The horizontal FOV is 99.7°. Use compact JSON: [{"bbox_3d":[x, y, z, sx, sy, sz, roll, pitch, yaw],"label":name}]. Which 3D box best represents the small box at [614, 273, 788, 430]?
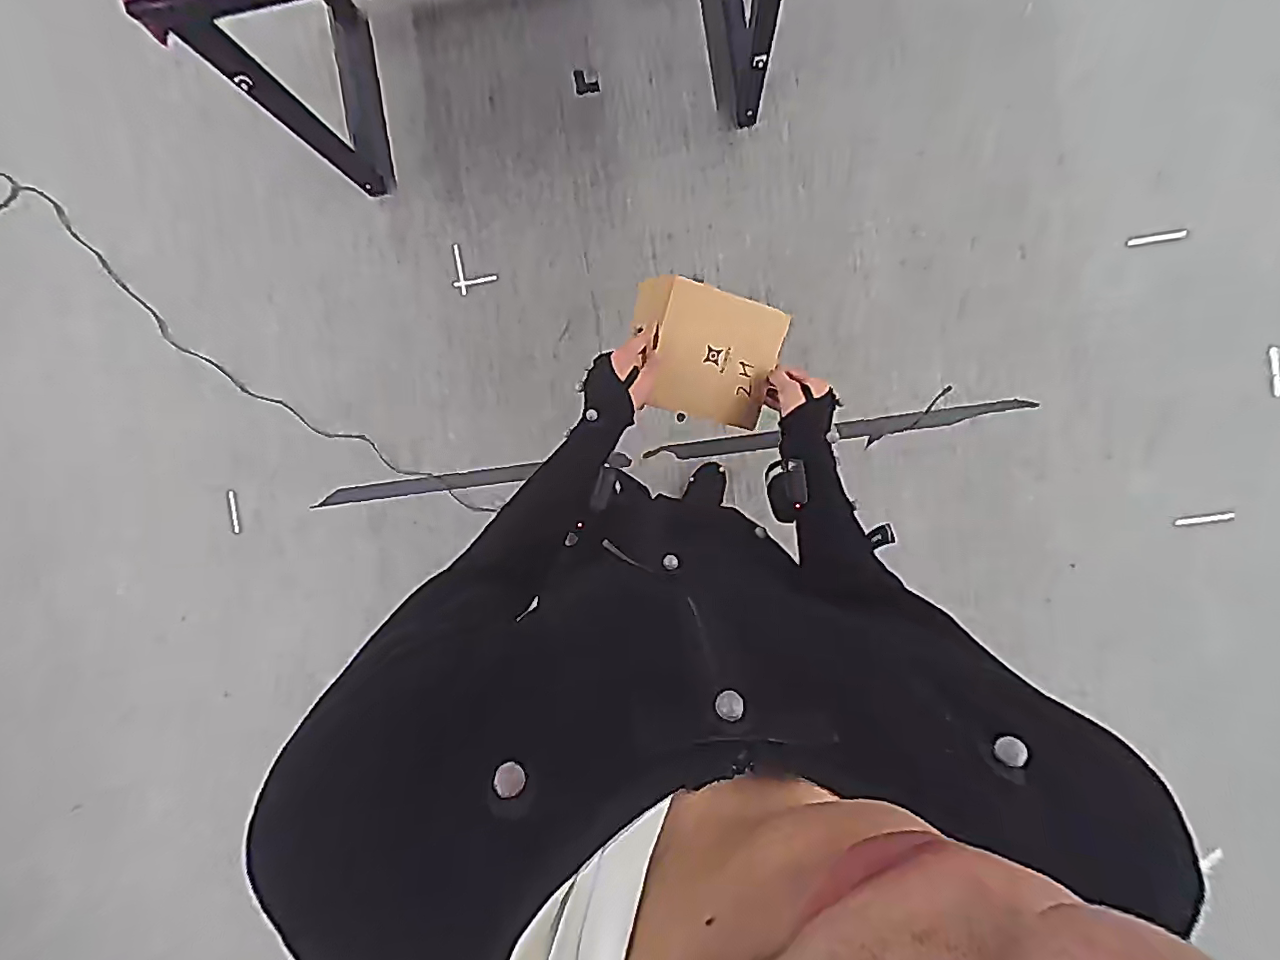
[{"bbox_3d":[0.074,-0.182,0.775,0.179,0.176,0.168,11,104,-19],"label":"small box"}]
